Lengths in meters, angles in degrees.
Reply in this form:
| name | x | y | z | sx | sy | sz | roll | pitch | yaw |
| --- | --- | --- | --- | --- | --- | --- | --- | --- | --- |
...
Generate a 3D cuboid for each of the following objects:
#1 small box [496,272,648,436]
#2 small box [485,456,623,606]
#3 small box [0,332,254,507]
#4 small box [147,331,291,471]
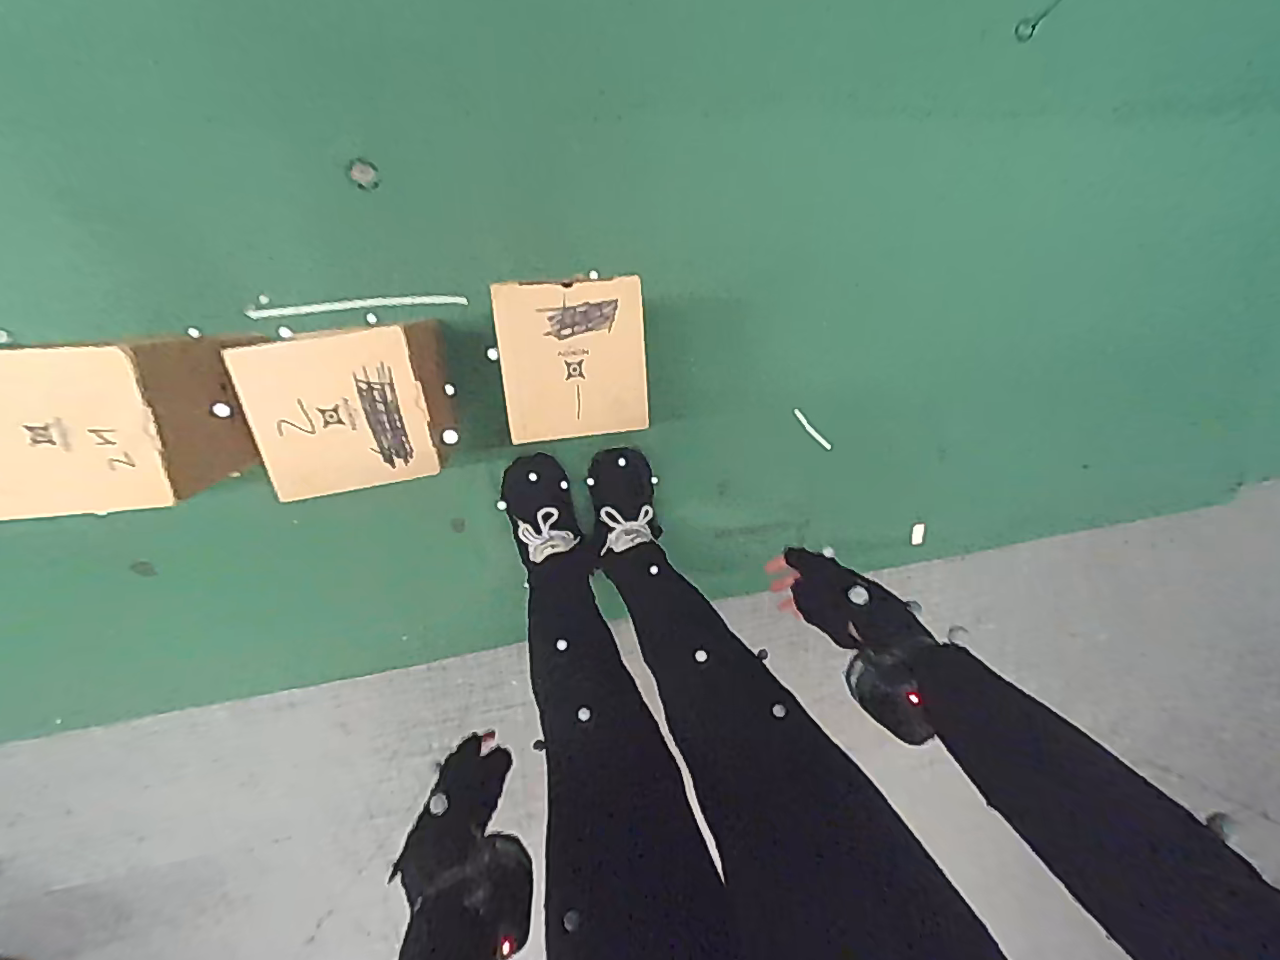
| name | x | y | z | sx | sy | sz | roll | pitch | yaw |
| --- | --- | --- | --- | --- | --- | --- | --- | --- | --- |
| small box | -0.090 | -0.165 | 0.692 | 0.168 | 0.176 | 0.179 | -7 | 109 | -10 |
| small box | -0.152 | 0.085 | 0.949 | 0.179 | 0.176 | 0.168 | 27 | 112 | -1 |
| small box | -0.585 | -0.078 | 0.611 | 0.179 | 0.176 | 0.168 | -4 | 108 | -10 |
| small box | -0.626 | -0.116 | 0.766 | 0.168 | 0.176 | 0.179 | -3 | 108 | -11 |
